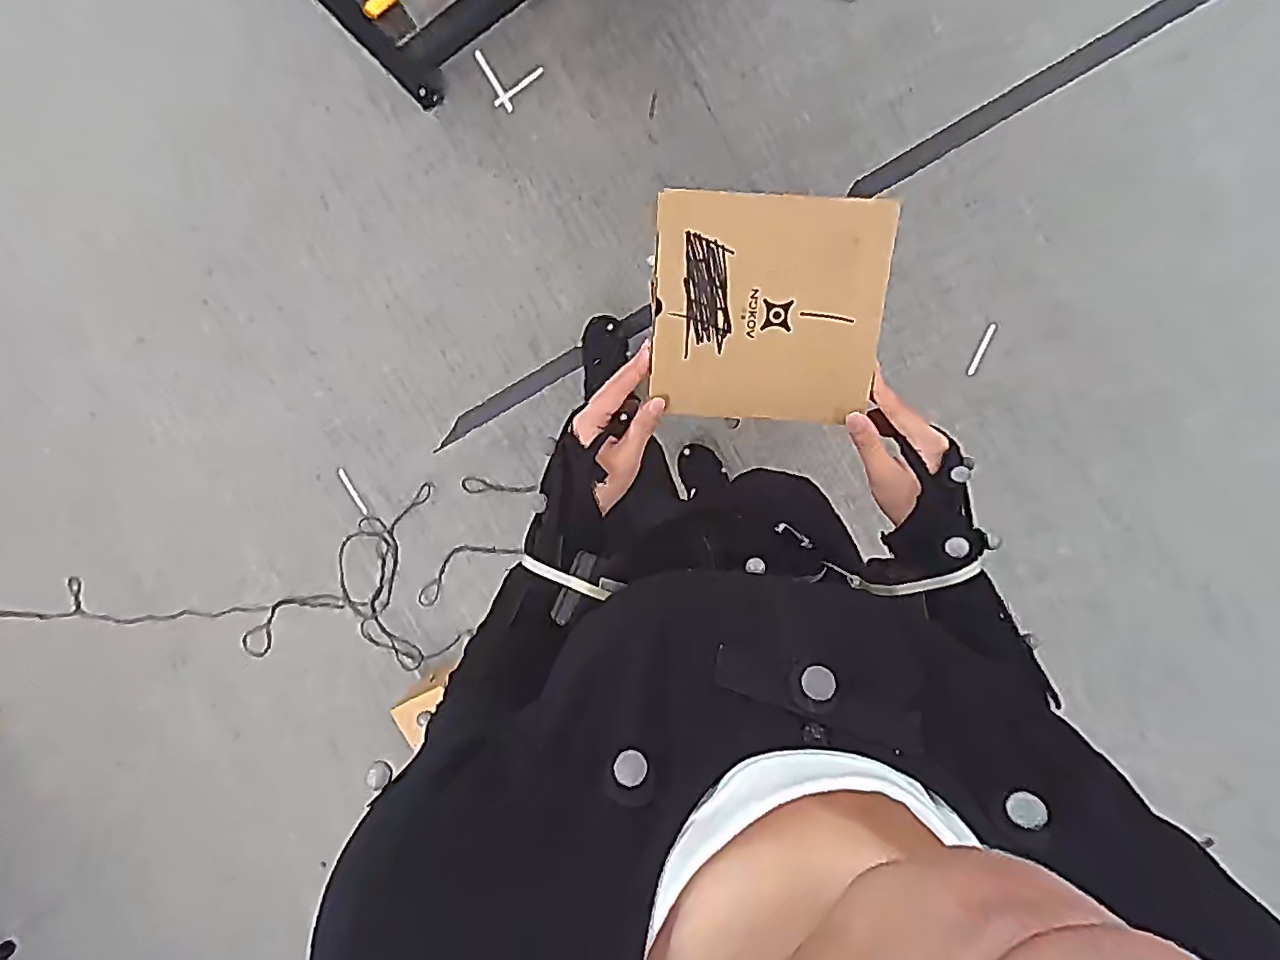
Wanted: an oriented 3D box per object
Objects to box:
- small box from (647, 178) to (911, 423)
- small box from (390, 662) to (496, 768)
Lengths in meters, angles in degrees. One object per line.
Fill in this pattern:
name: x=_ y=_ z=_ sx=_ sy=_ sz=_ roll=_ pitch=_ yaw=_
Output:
small box: x=0.103 y=-0.148 z=0.477 sx=0.179 sy=0.176 sz=0.168 roll=5 pitch=105 yaw=2
small box: x=-0.513 y=0.611 z=1.434 sx=0.168 sy=0.176 sz=0.179 roll=-27 pitch=96 yaw=10
